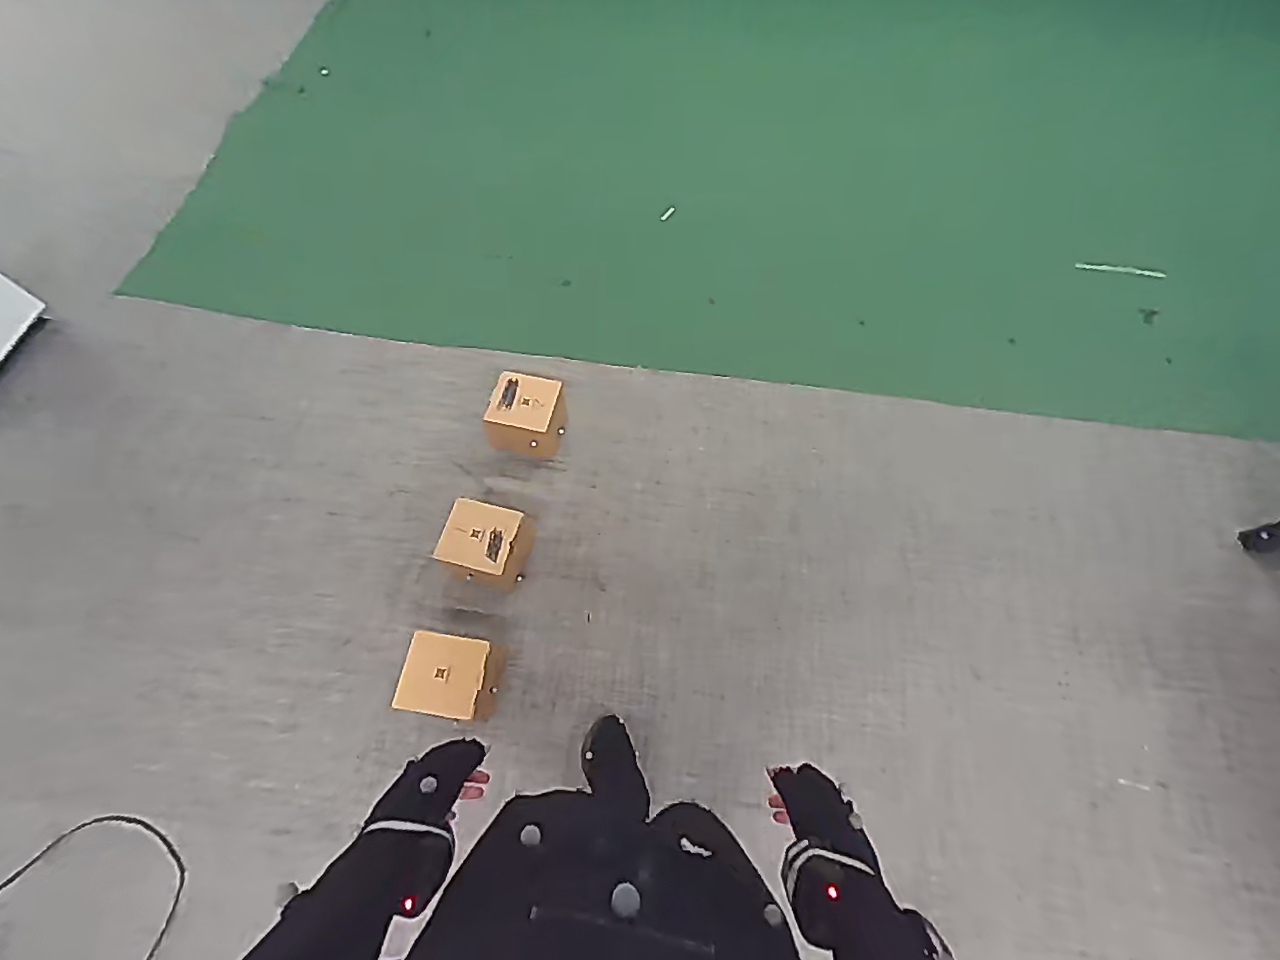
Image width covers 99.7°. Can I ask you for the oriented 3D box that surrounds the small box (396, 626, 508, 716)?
[{"bbox_3d":[-0.422,0.444,1.245,0.179,0.176,0.168,8,66,2],"label":"small box"}]

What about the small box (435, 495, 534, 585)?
[{"bbox_3d":[-0.382,0.159,1.372,0.179,0.176,0.168,13,66,6],"label":"small box"}]
